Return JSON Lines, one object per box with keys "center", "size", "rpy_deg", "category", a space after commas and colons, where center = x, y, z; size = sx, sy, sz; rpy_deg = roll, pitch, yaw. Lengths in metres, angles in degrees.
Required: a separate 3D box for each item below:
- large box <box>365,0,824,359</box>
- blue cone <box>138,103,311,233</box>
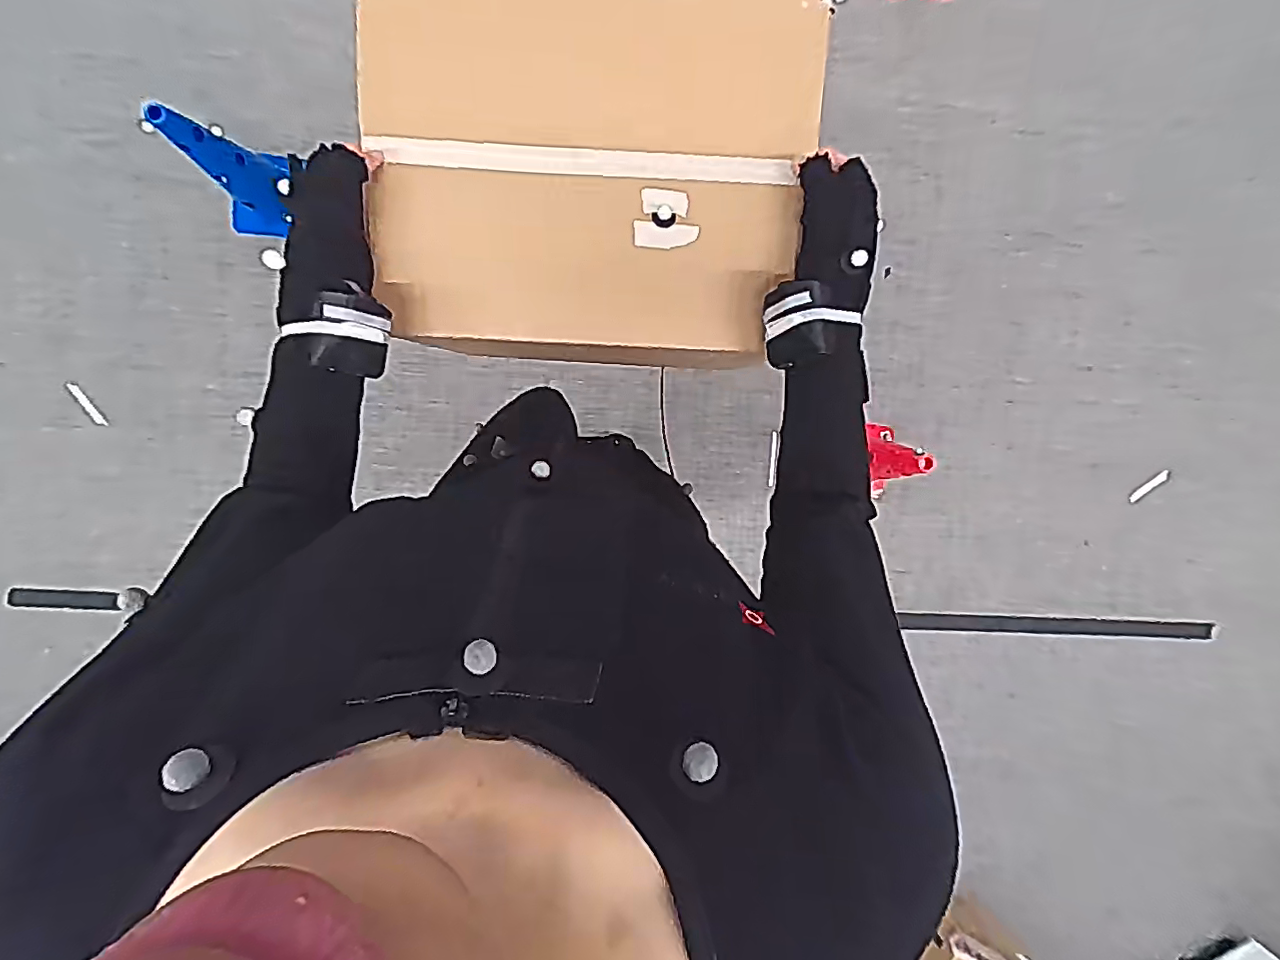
{"center": [-0.048, -0.314, 0.633], "size": [0.408, 0.320, 0.320], "rpy_deg": [2, 99, -3], "category": "large box"}
{"center": [-0.935, -0.718, 1.217], "size": [0.192, 0.380, 0.193], "rpy_deg": [6, 94, -1], "category": "blue cone"}
